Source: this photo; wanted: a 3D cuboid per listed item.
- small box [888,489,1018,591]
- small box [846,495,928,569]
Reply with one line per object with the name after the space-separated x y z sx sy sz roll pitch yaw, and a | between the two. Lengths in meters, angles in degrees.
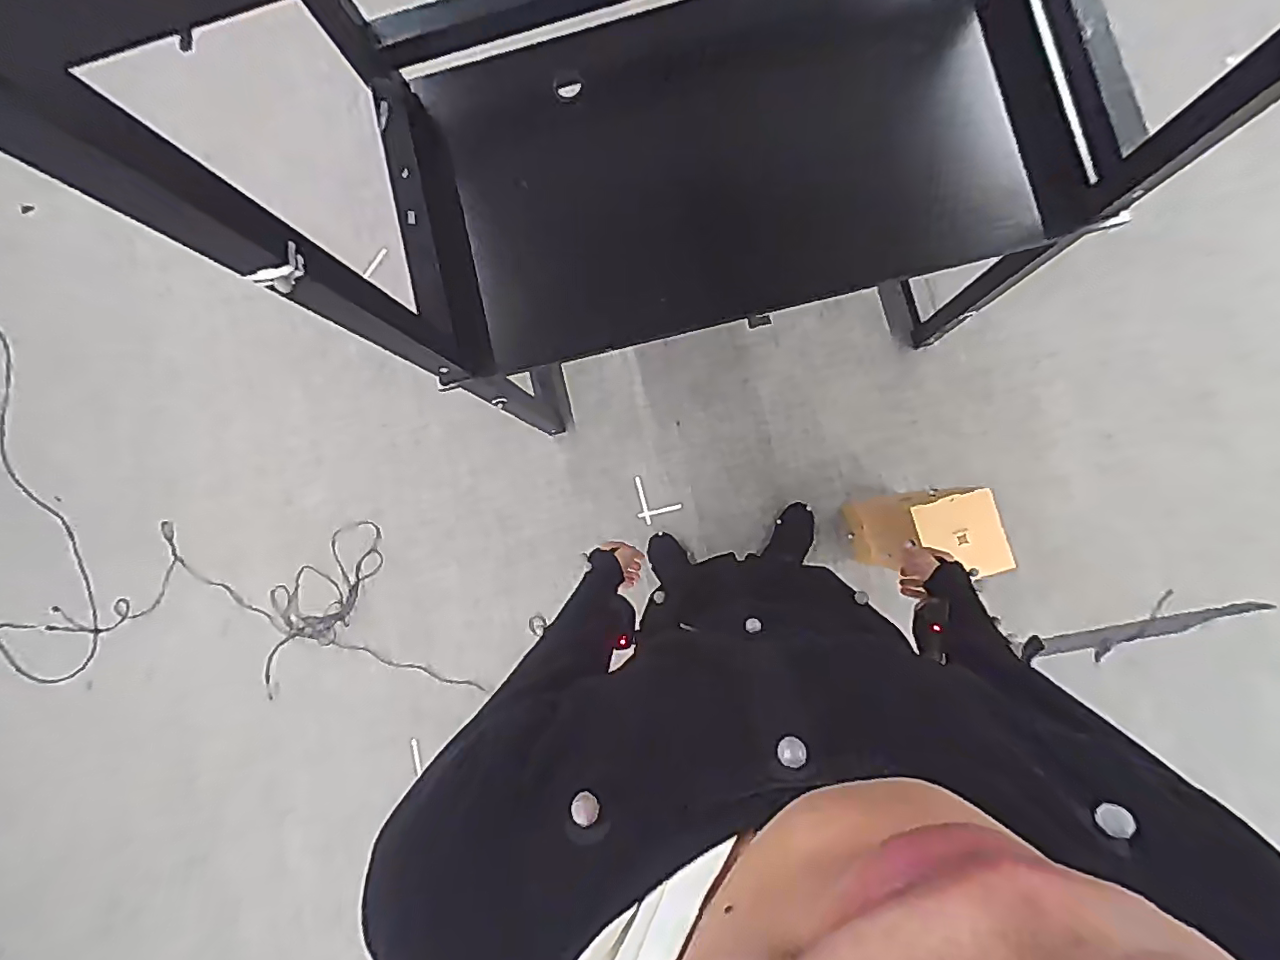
0.672 0.125 1.180 0.168 0.176 0.179 -17 85 5 | small box
0.700 0.140 1.506 0.179 0.176 0.168 -15 85 5 | small box
